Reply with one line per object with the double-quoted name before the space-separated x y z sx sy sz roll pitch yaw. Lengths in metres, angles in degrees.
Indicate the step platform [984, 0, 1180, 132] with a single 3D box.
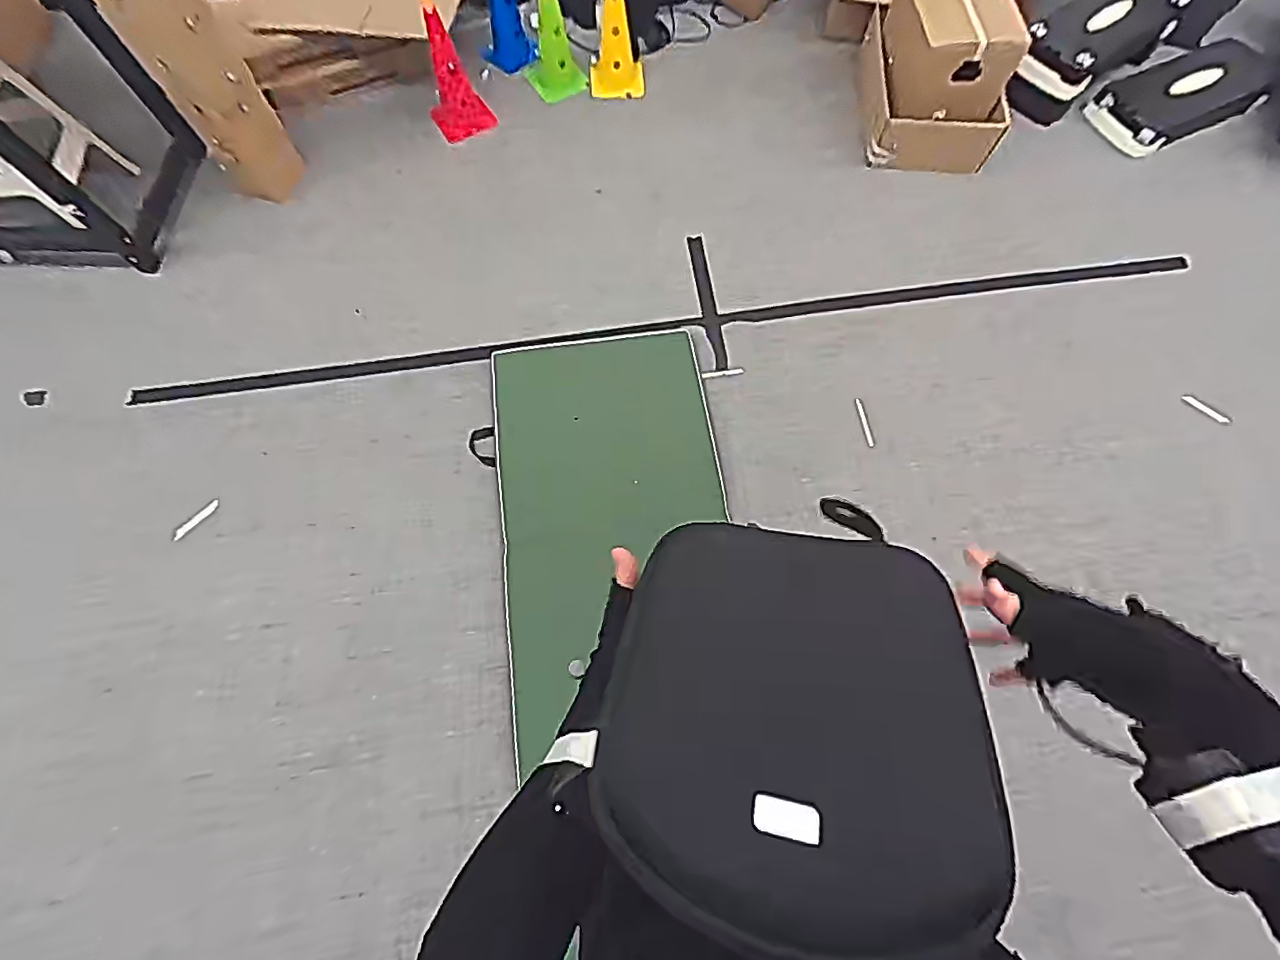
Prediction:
"step platform" 1.652 -1.597 2.024 0.684 0.204 0.286 -36 74 -12
